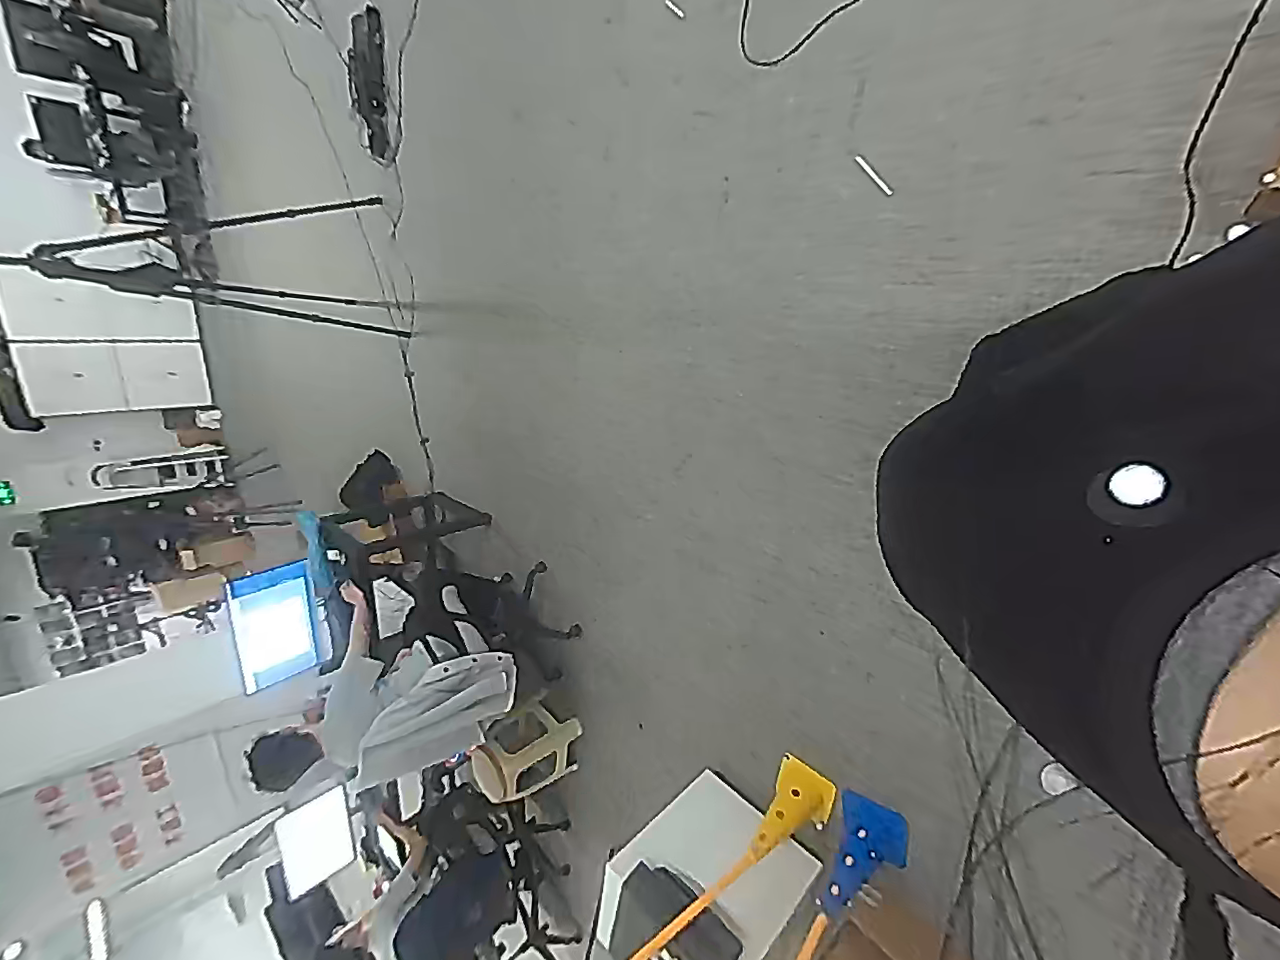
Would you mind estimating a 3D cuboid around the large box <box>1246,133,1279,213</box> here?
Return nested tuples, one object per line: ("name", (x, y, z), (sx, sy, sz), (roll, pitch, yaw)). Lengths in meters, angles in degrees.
("large box", (1.163, -0.534, 0.709), (0.408, 0.320, 0.320), (25, 117, 38))
